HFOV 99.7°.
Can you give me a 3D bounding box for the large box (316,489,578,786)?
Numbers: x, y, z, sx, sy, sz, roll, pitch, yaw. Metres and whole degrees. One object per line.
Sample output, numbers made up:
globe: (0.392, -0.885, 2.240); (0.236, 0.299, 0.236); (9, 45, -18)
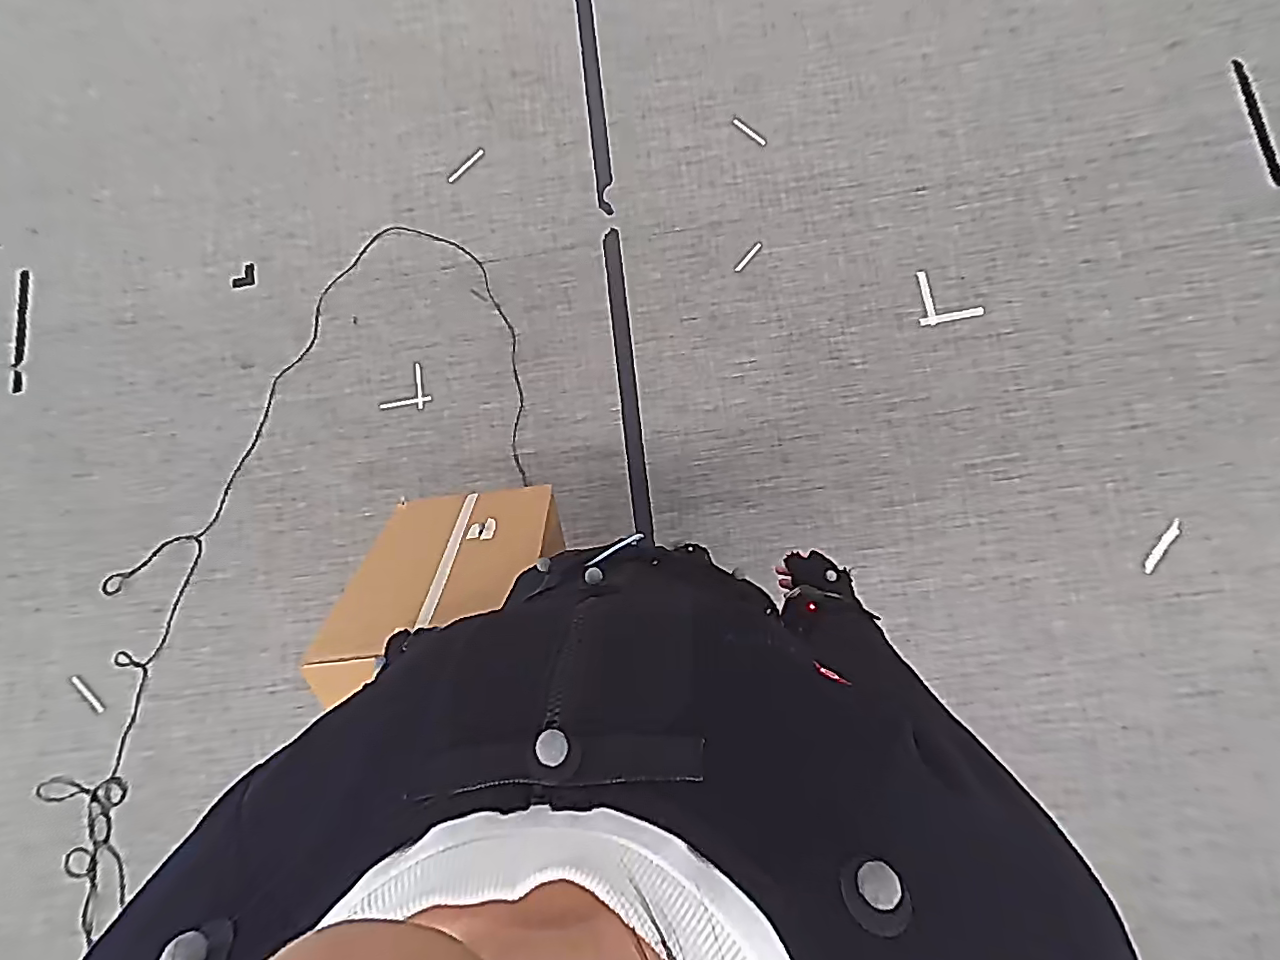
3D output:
large box: (-0.294, 0.264, 0.986); (0.320, 0.408, 0.320); (-6, 120, 0)
